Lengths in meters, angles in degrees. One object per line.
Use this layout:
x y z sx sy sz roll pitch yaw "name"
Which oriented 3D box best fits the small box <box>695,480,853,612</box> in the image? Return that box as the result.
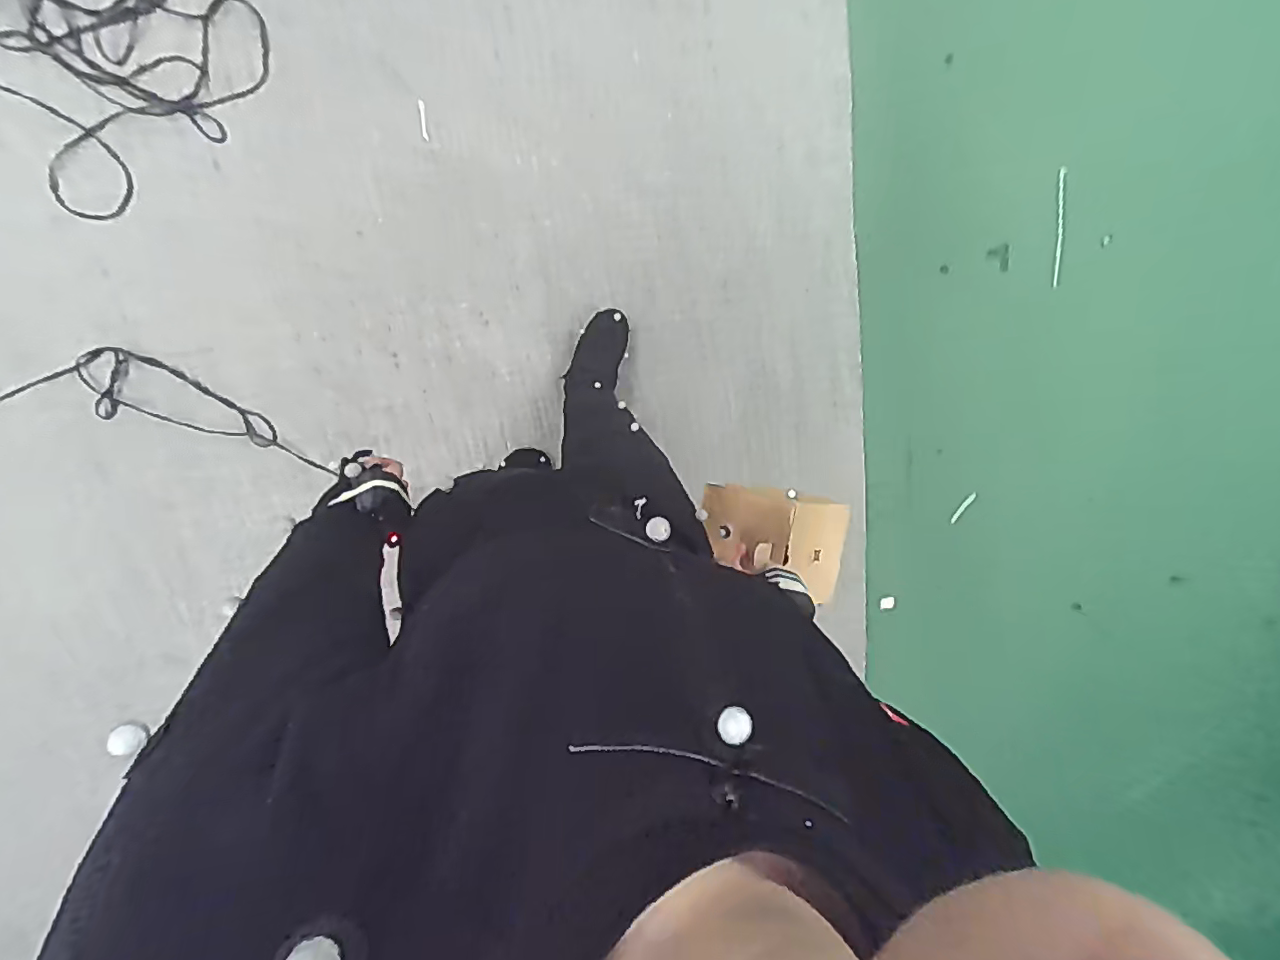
0.213 0.093 0.868 0.179 0.176 0.168 -1 99 -44 "small box"
